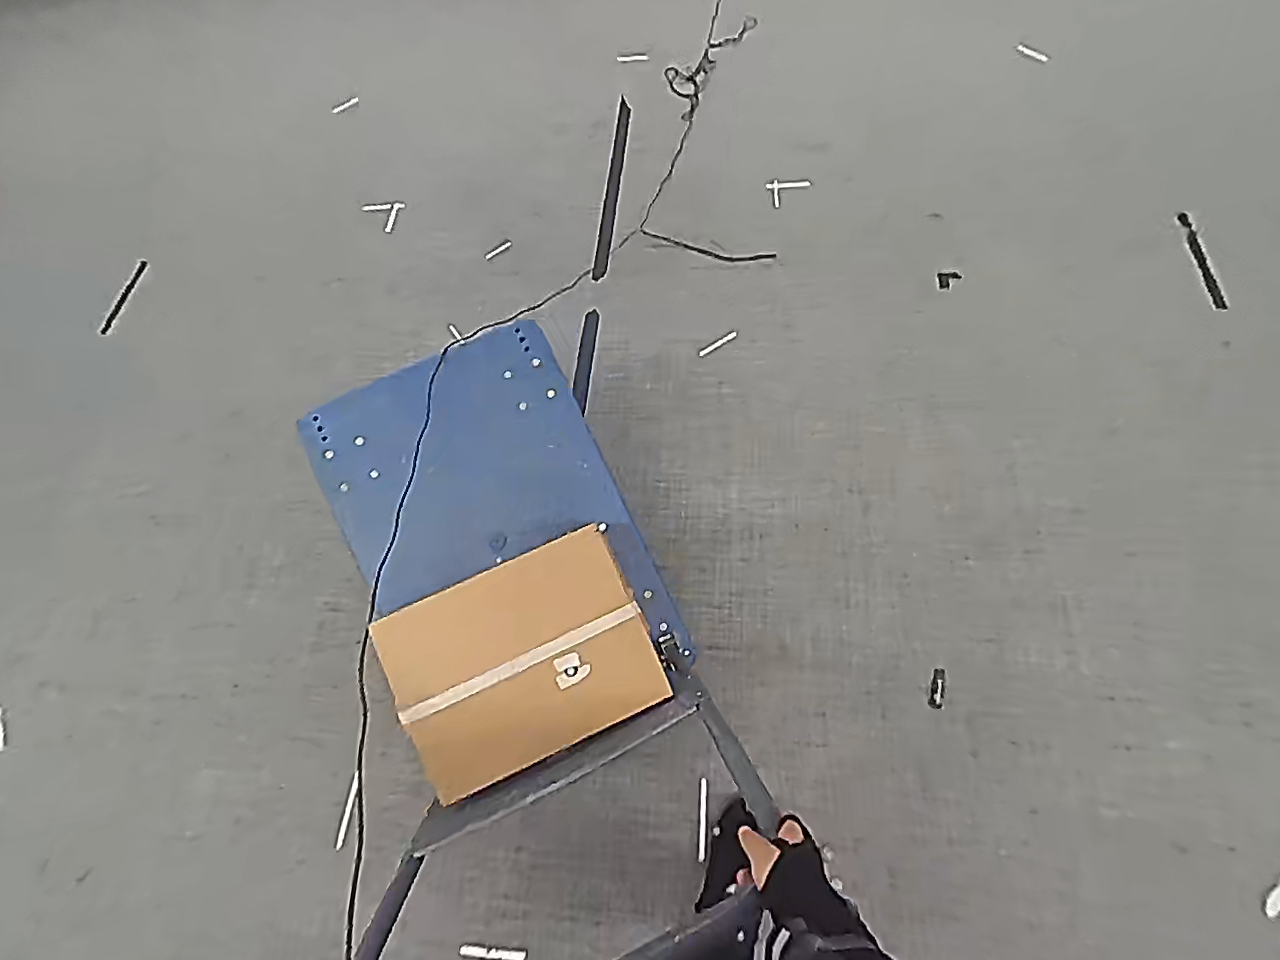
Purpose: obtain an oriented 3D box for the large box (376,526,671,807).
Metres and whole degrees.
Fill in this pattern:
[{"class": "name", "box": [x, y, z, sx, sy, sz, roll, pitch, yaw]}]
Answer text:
[{"class": "large box", "box": [-0.201, 0.314, 1.033, 0.408, 0.320, 0.320, -25, 88, -7]}]
